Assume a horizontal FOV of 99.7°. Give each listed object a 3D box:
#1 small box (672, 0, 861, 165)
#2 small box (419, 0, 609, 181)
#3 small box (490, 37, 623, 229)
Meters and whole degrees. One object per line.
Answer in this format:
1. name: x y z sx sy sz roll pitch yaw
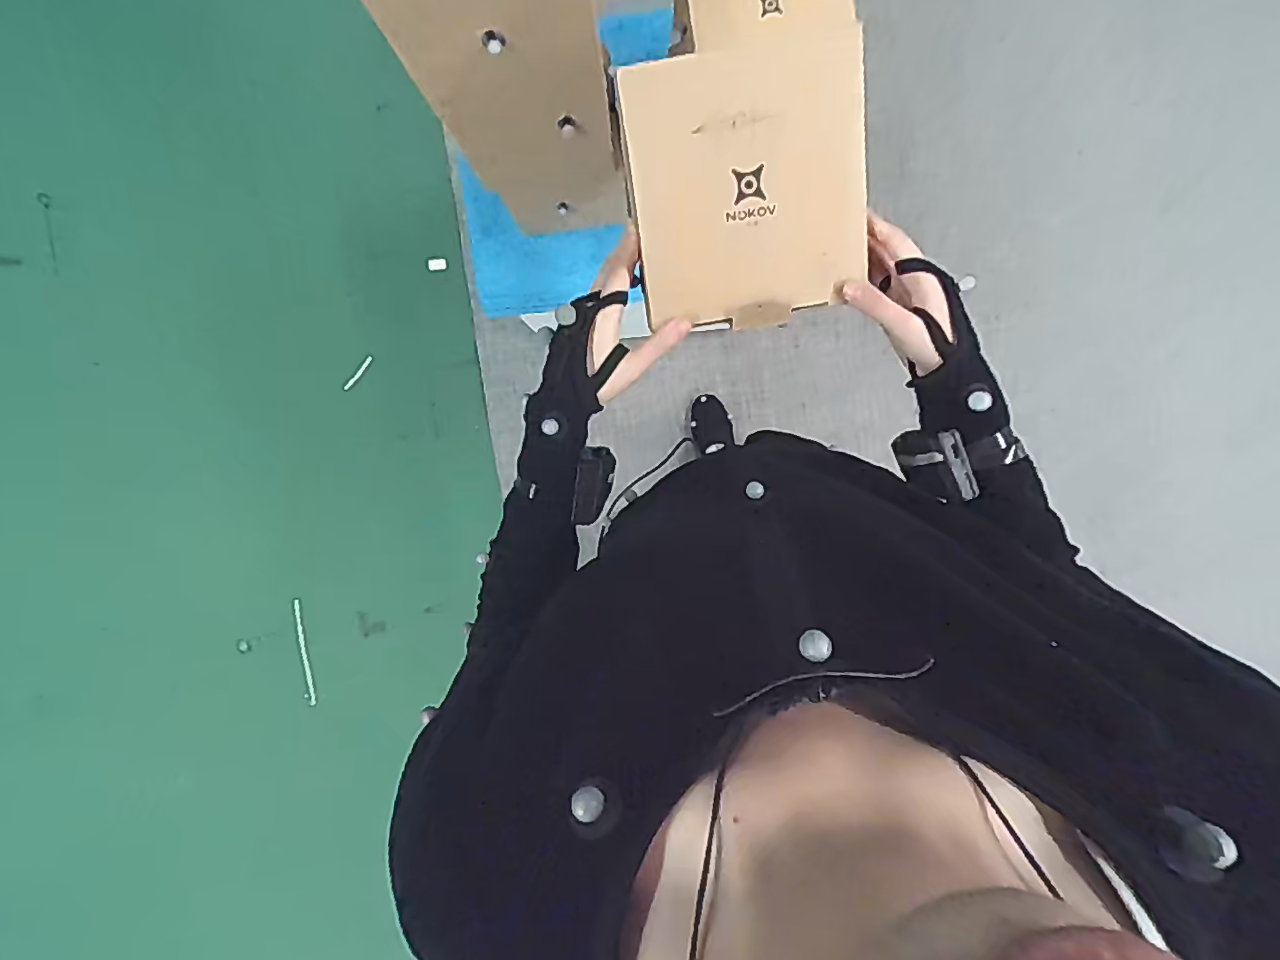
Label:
1. small box: 0.129 -0.486 0.612 0.168 0.176 0.179 -9 92 2
2. small box: -0.130 -0.470 0.615 0.179 0.176 0.168 -7 93 2
3. small box: -0.119 -0.484 0.779 0.179 0.176 0.168 -7 93 2
